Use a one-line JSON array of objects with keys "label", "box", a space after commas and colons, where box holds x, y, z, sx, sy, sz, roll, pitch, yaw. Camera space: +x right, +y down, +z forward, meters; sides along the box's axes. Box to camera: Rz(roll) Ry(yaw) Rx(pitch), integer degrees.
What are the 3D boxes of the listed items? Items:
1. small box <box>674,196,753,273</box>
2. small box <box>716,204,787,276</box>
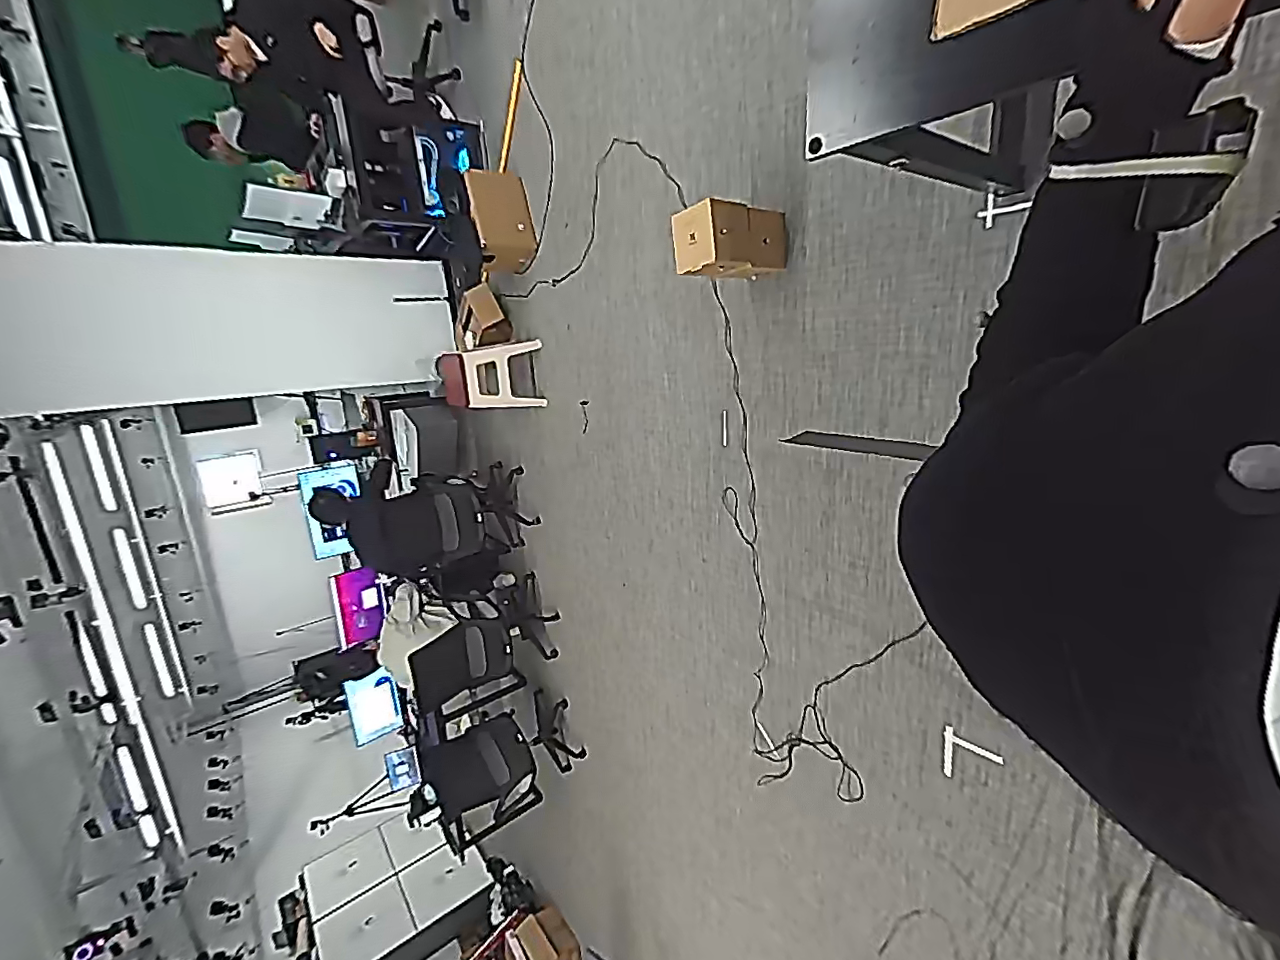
[{"label": "small box", "box": [0.227, -0.737, 1.640, 0.168, 0.176, 0.179, 5, 104, 52]}, {"label": "small box", "box": [0.356, -0.763, 1.737, 0.168, 0.176, 0.179, 9, 109, 52]}]
